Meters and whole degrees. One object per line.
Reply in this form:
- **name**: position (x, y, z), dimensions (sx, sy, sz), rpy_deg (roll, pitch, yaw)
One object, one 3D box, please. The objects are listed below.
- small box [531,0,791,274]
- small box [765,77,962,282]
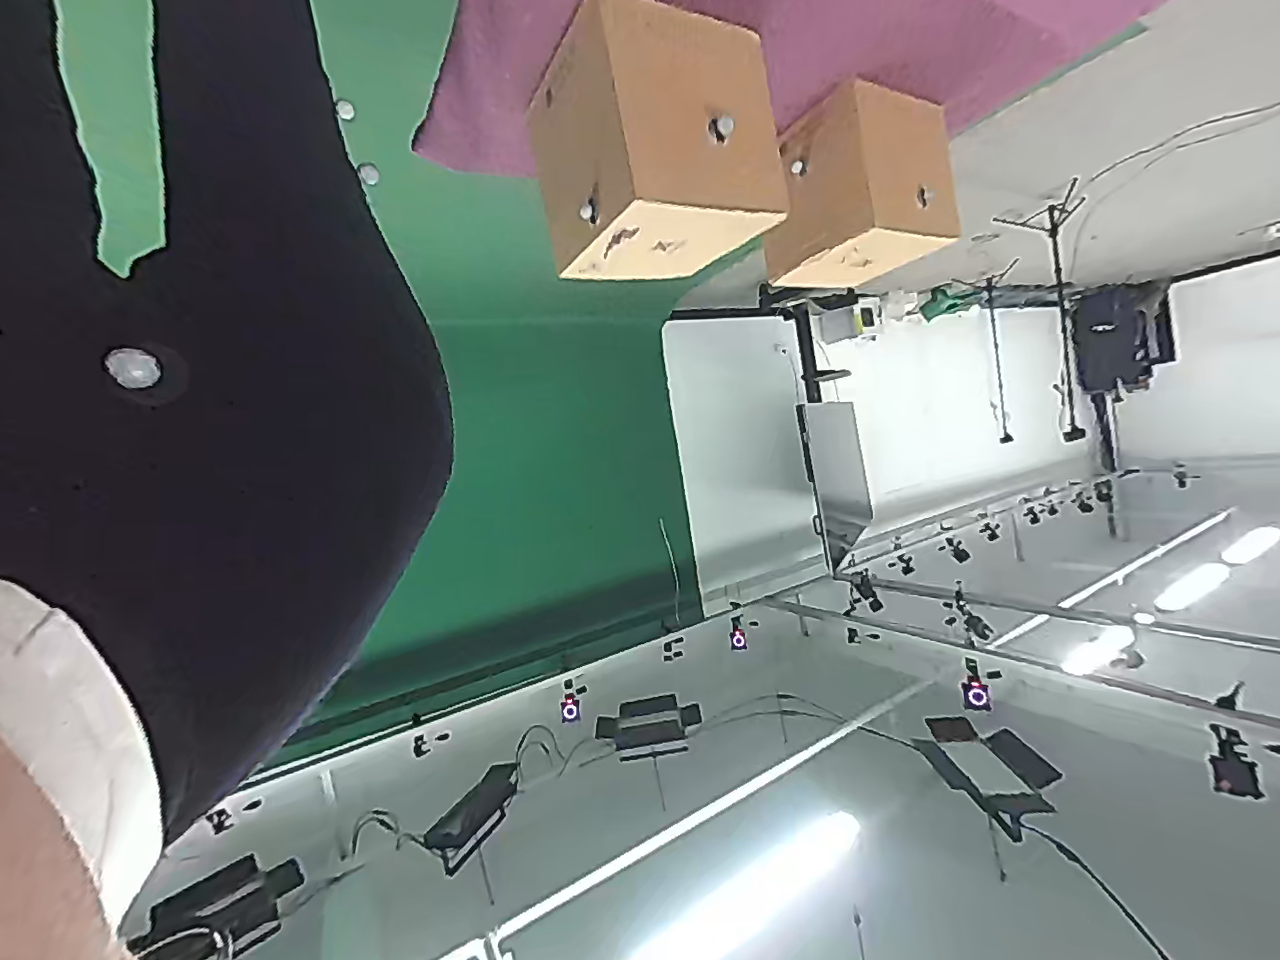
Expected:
- **small box**: position (0.015, -0.316, 0.525), dimensions (0.179, 0.176, 0.168), rpy_deg (-14, -176, -30)
- **small box**: position (0.276, -0.369, 0.693), dimensions (0.179, 0.176, 0.168), rpy_deg (-10, -179, -30)
